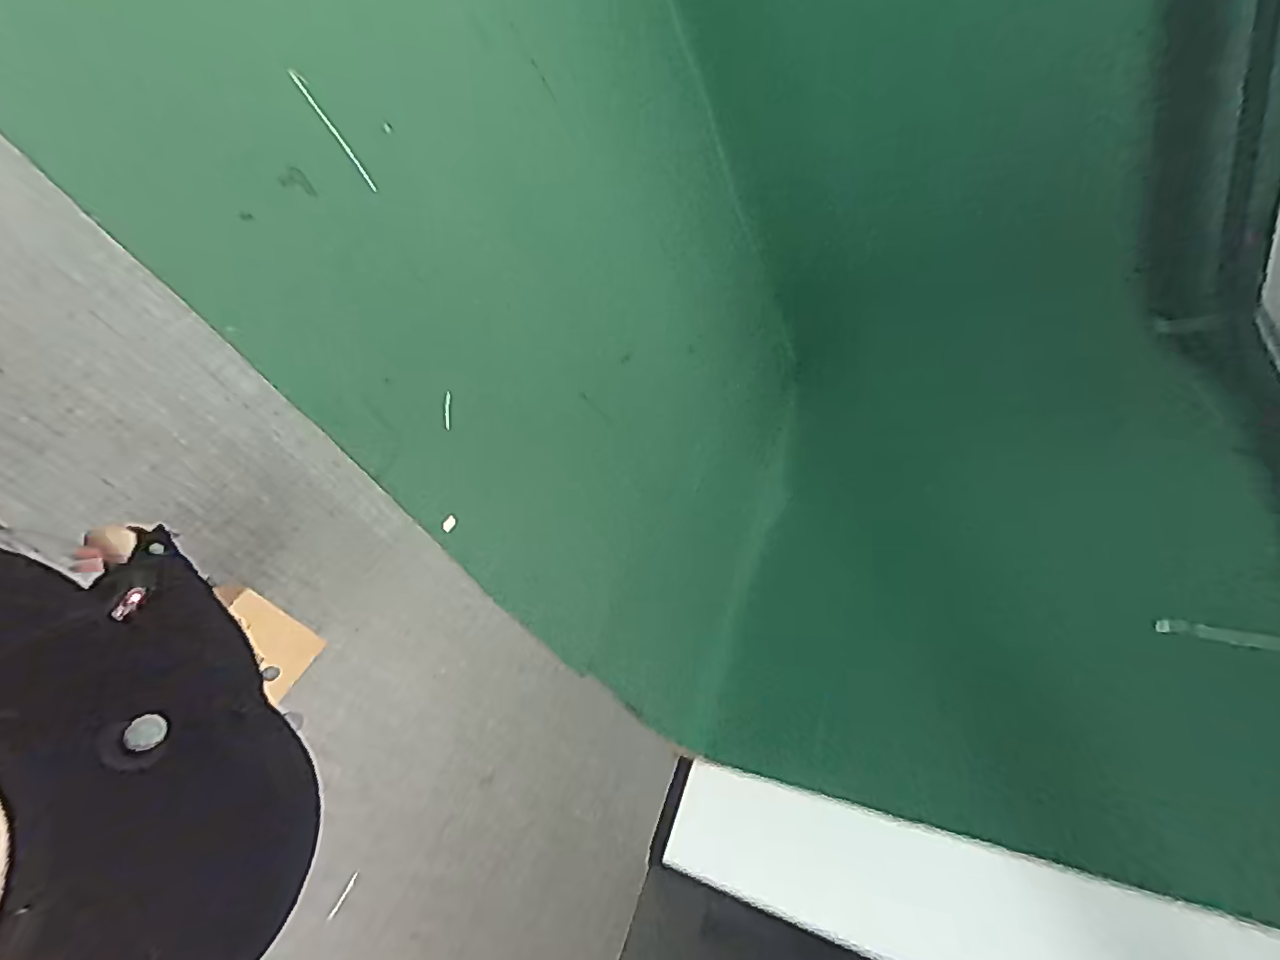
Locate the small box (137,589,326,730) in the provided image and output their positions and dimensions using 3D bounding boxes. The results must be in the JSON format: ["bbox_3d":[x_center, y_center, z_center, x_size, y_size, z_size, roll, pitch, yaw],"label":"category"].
[{"bbox_3d":[-0.708,0.303,0.944,0.179,0.176,0.168,58,44,-33],"label":"small box"}]

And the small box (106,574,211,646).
[{"bbox_3d":[-0.966,0.317,1.146,0.179,0.176,0.168,60,45,-30],"label":"small box"}]
